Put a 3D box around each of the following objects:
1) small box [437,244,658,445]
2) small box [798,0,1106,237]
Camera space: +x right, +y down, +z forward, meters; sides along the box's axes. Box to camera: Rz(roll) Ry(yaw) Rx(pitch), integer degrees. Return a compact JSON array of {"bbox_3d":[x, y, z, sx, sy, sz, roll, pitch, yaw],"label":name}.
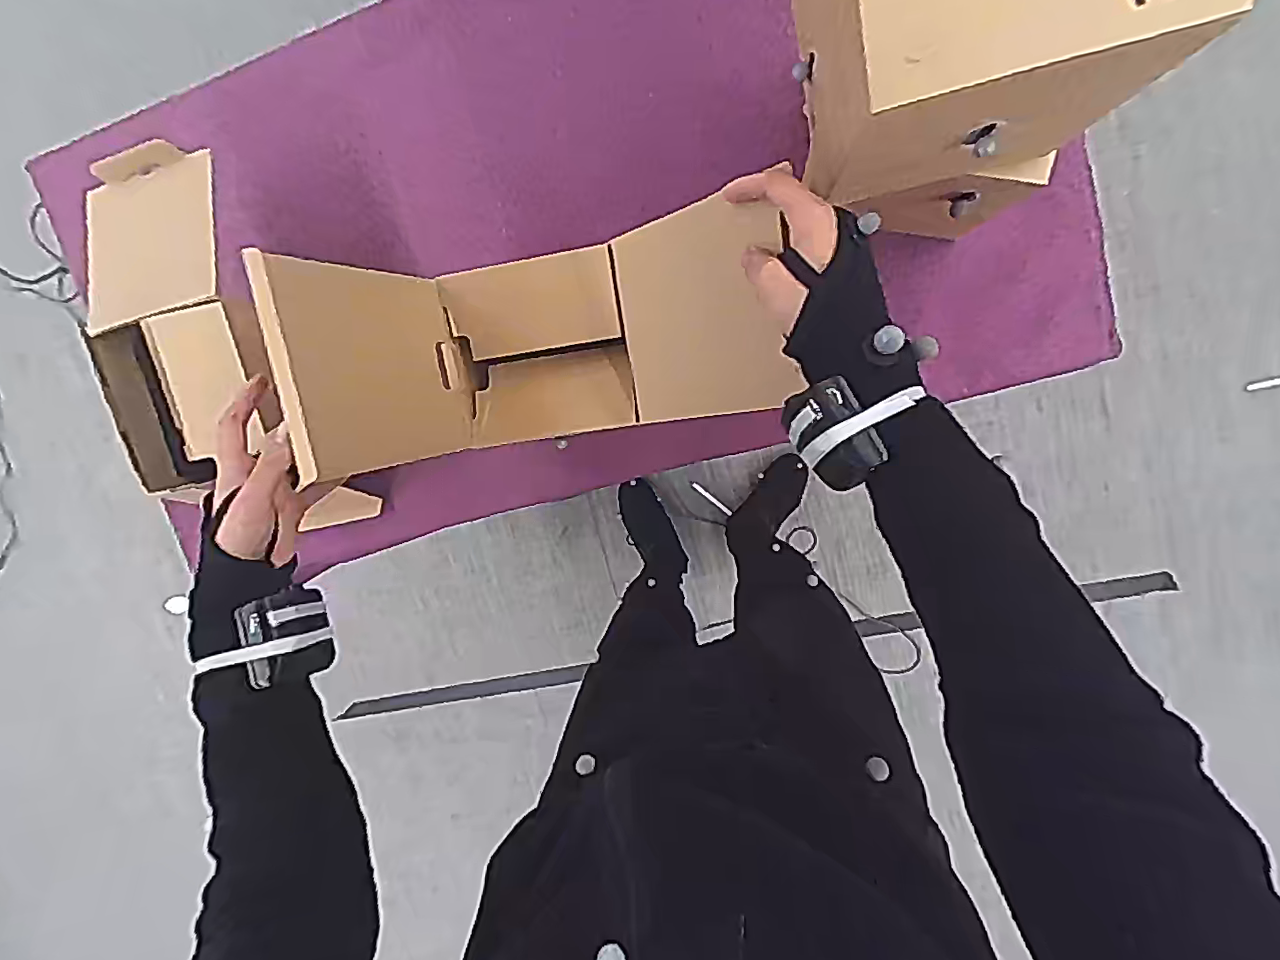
[{"bbox_3d":[-0.084,-0.134,0.581,0.179,0.176,0.168,-7,100,9],"label":"small box"},{"bbox_3d":[0.257,-0.334,0.491,0.179,0.176,0.168,12,101,7],"label":"small box"}]
